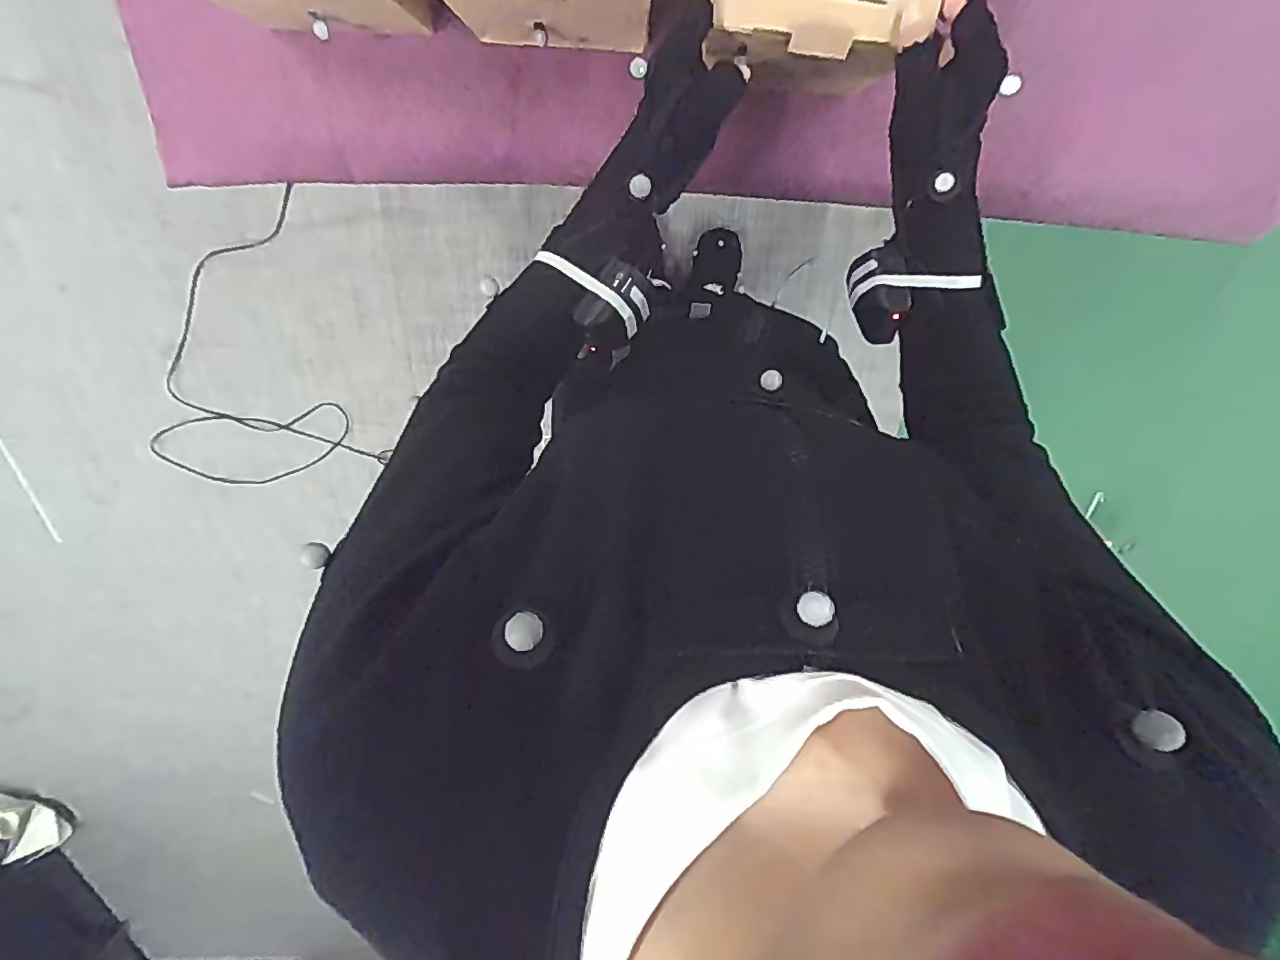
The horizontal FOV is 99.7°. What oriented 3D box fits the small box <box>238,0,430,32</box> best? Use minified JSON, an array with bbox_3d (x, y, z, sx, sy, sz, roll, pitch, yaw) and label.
[{"bbox_3d":[-0.278,-0.481,0.415,0.168,0.176,0.179,2,118,-1],"label":"small box"}]
